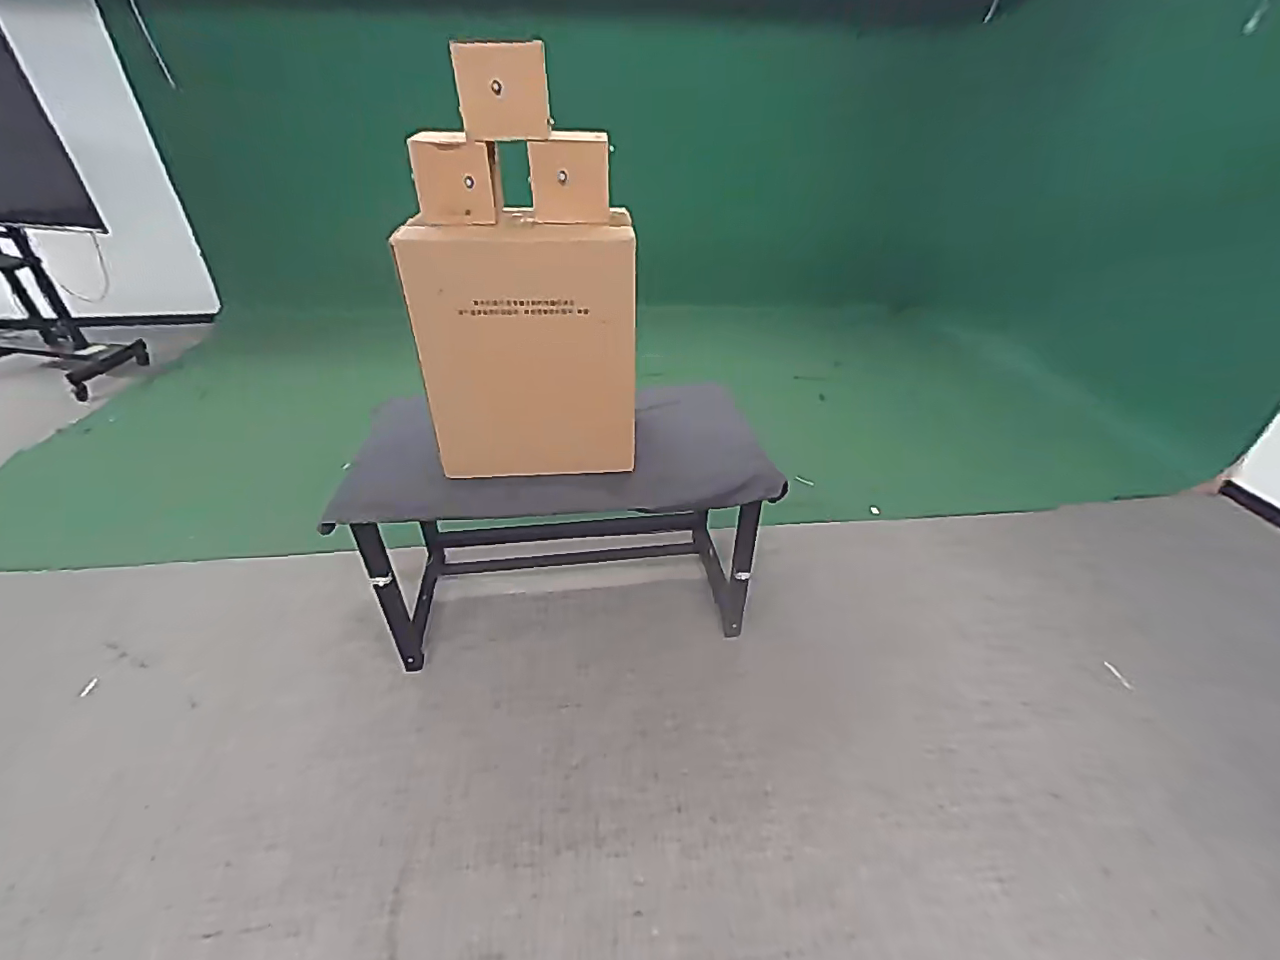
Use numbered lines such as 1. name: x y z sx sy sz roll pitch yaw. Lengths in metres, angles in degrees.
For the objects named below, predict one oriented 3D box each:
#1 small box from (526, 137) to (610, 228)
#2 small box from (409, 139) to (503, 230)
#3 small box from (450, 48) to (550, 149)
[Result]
1. small box: -0.163 -0.704 1.281 0.179 0.176 0.168 -3 38 -3
2. small box: -0.419 -0.690 1.263 0.168 0.176 0.179 -2 36 -6
3. small box: -0.292 -0.828 1.172 0.179 0.176 0.168 -4 38 -4
